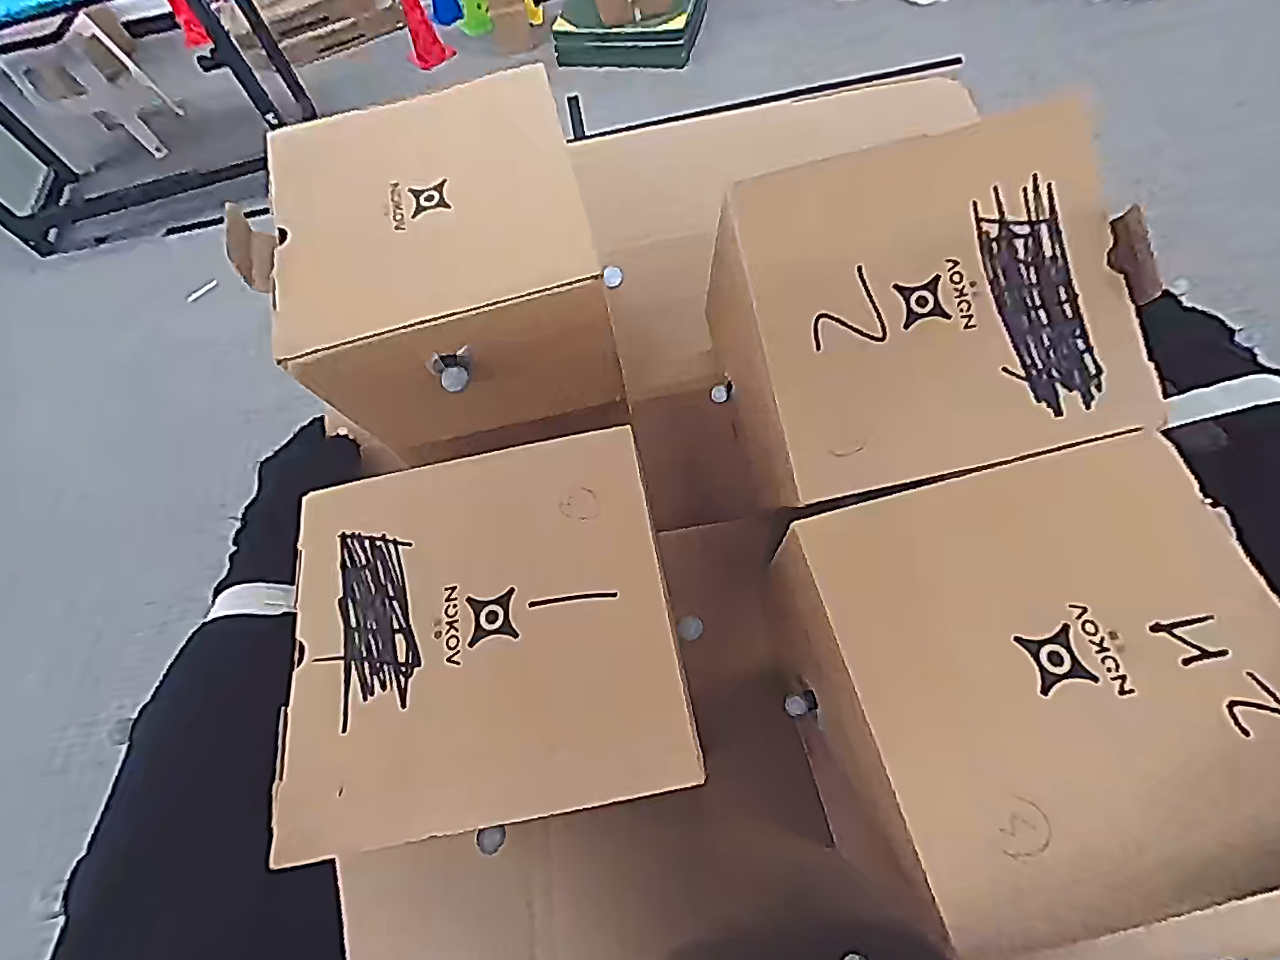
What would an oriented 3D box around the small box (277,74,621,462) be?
[{"bbox_3d":[-0.116,-0.131,0.387,0.179,0.176,0.168,-16,70,1],"label":"small box"}]
